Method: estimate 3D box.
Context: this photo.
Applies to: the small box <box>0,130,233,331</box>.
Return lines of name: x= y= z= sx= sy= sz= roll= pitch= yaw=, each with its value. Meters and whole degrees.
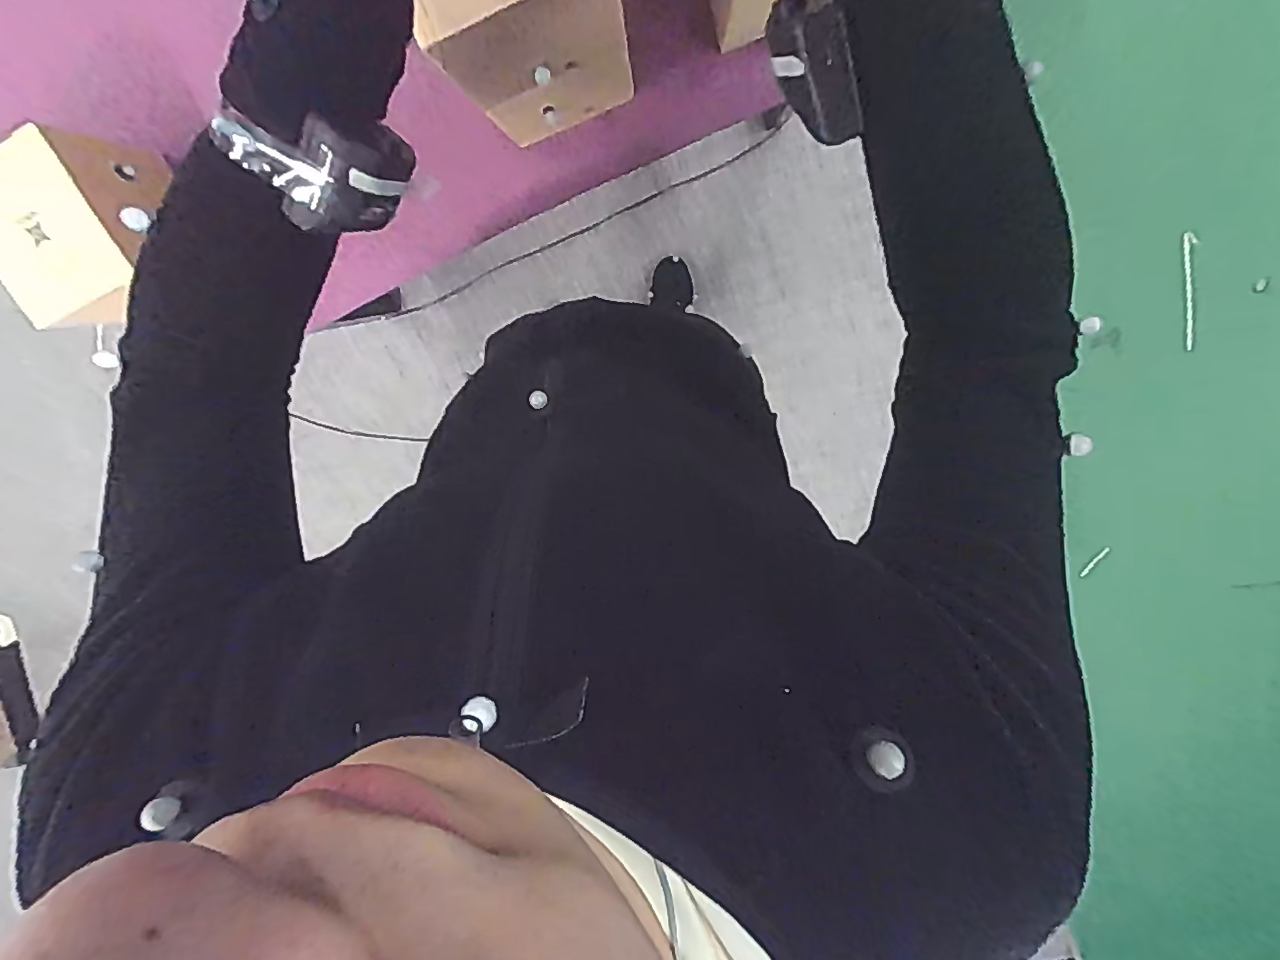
small box: x=-0.704 y=-0.313 z=0.711 sx=0.168 sy=0.176 sz=0.179 roll=-21 pitch=108 yaw=10

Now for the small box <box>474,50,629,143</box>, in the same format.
small box: x=-0.118 y=-0.515 z=0.619 sx=0.168 sy=0.176 sz=0.179 roll=-19 pitch=108 yaw=9

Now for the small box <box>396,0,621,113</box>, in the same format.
small box: x=-0.123 y=-0.461 z=0.464 sx=0.168 sy=0.176 sz=0.179 roll=-18 pitch=108 yaw=9
